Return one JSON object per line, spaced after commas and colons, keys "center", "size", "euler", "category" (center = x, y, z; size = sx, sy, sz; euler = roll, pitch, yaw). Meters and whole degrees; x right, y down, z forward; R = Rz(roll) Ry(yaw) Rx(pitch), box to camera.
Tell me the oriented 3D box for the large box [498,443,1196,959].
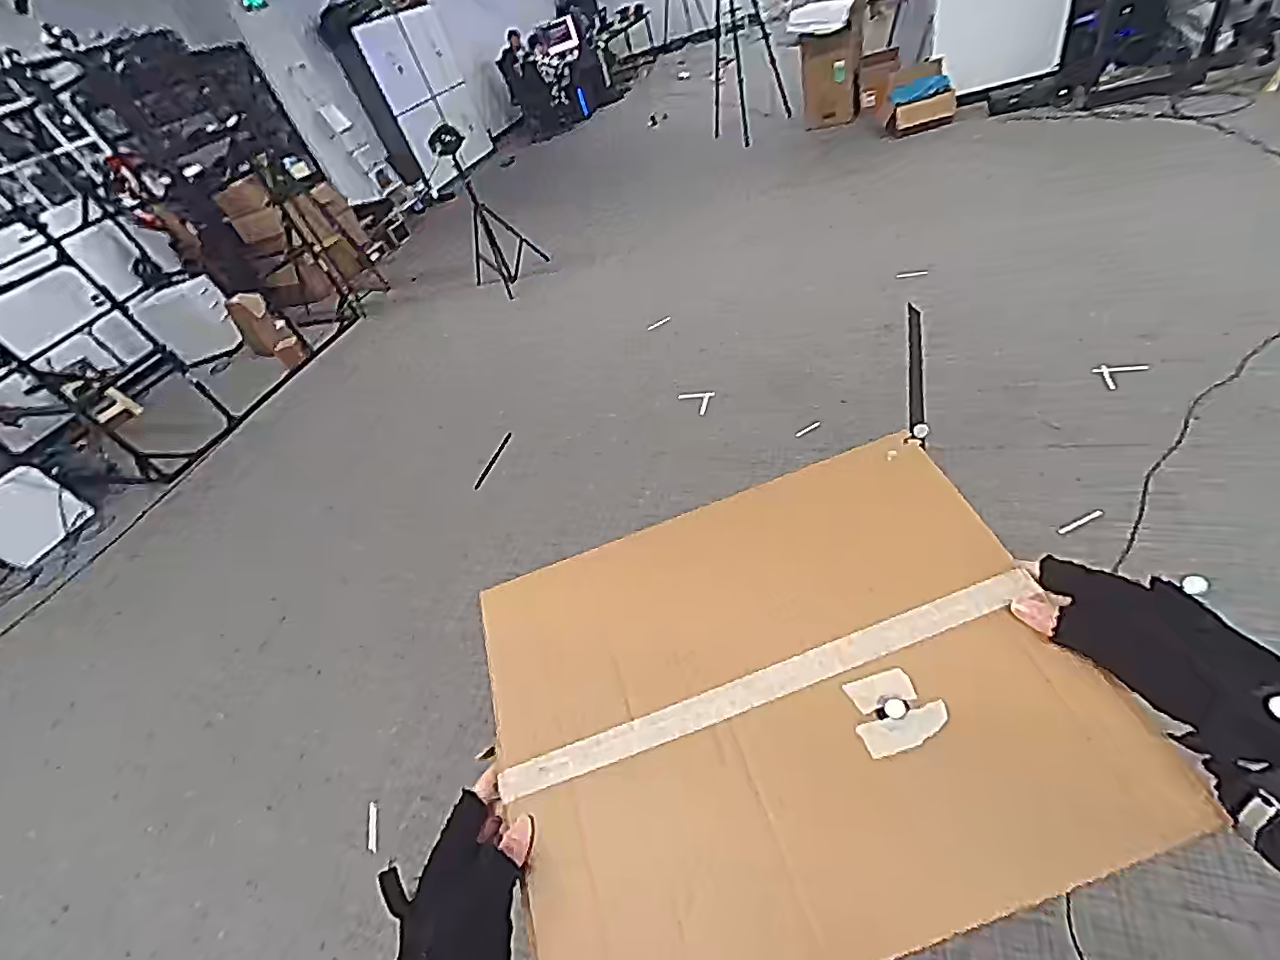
{"center": [0.130, 0.234, 0.520], "size": [0.408, 0.320, 0.320], "euler": [-21, 55, -1], "category": "large box"}
